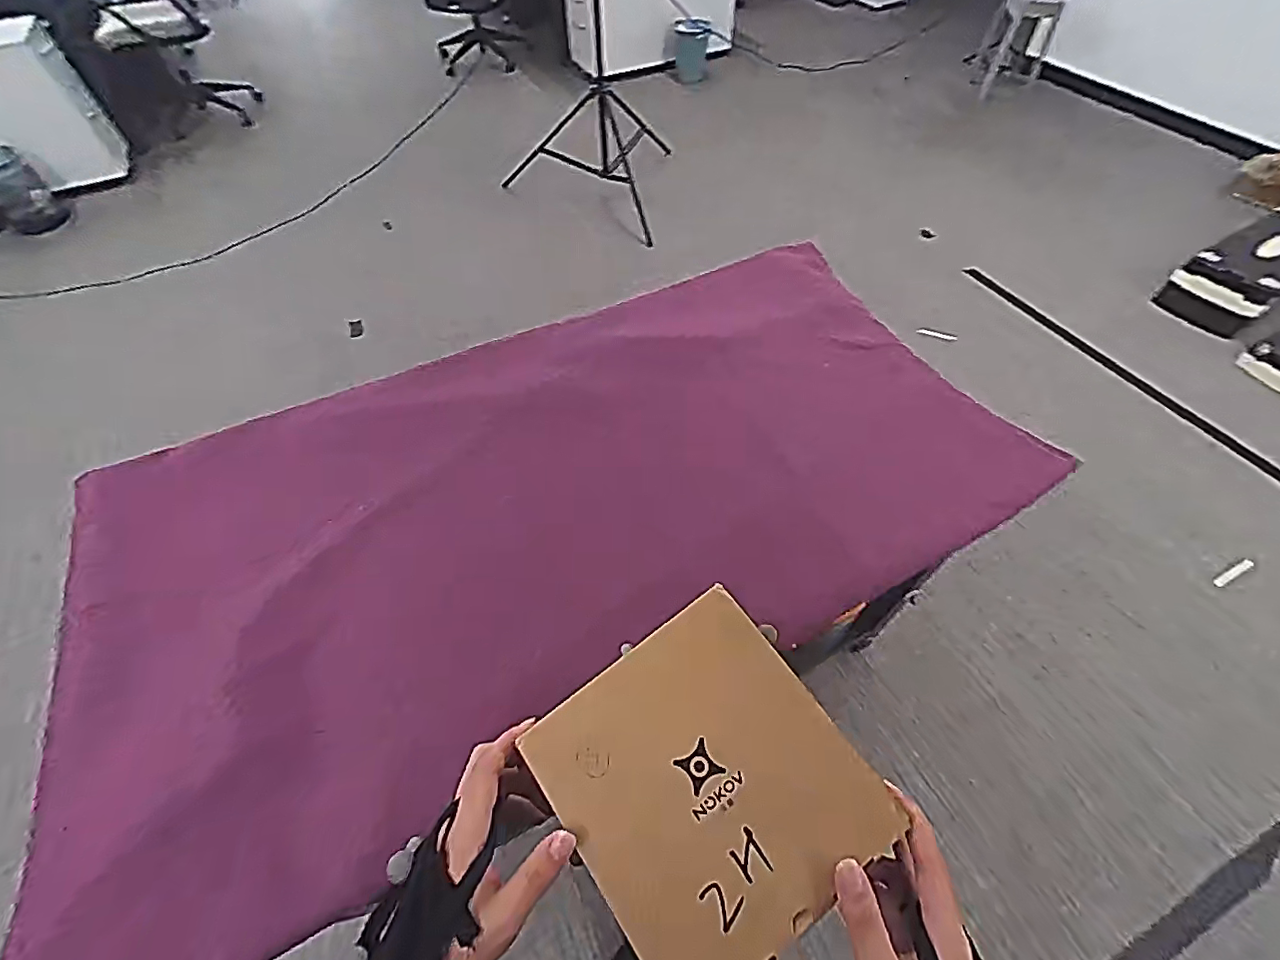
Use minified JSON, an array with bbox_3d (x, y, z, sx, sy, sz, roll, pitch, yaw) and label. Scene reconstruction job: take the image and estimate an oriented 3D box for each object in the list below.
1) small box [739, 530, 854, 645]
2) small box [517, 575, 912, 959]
[{"bbox_3d":[0.342,0.250,1.217,0.168,0.176,0.179,-23,56,-13],"label":"small box"},{"bbox_3d":[0.041,0.200,0.388,0.168,0.176,0.179,-35,70,-11],"label":"small box"}]
